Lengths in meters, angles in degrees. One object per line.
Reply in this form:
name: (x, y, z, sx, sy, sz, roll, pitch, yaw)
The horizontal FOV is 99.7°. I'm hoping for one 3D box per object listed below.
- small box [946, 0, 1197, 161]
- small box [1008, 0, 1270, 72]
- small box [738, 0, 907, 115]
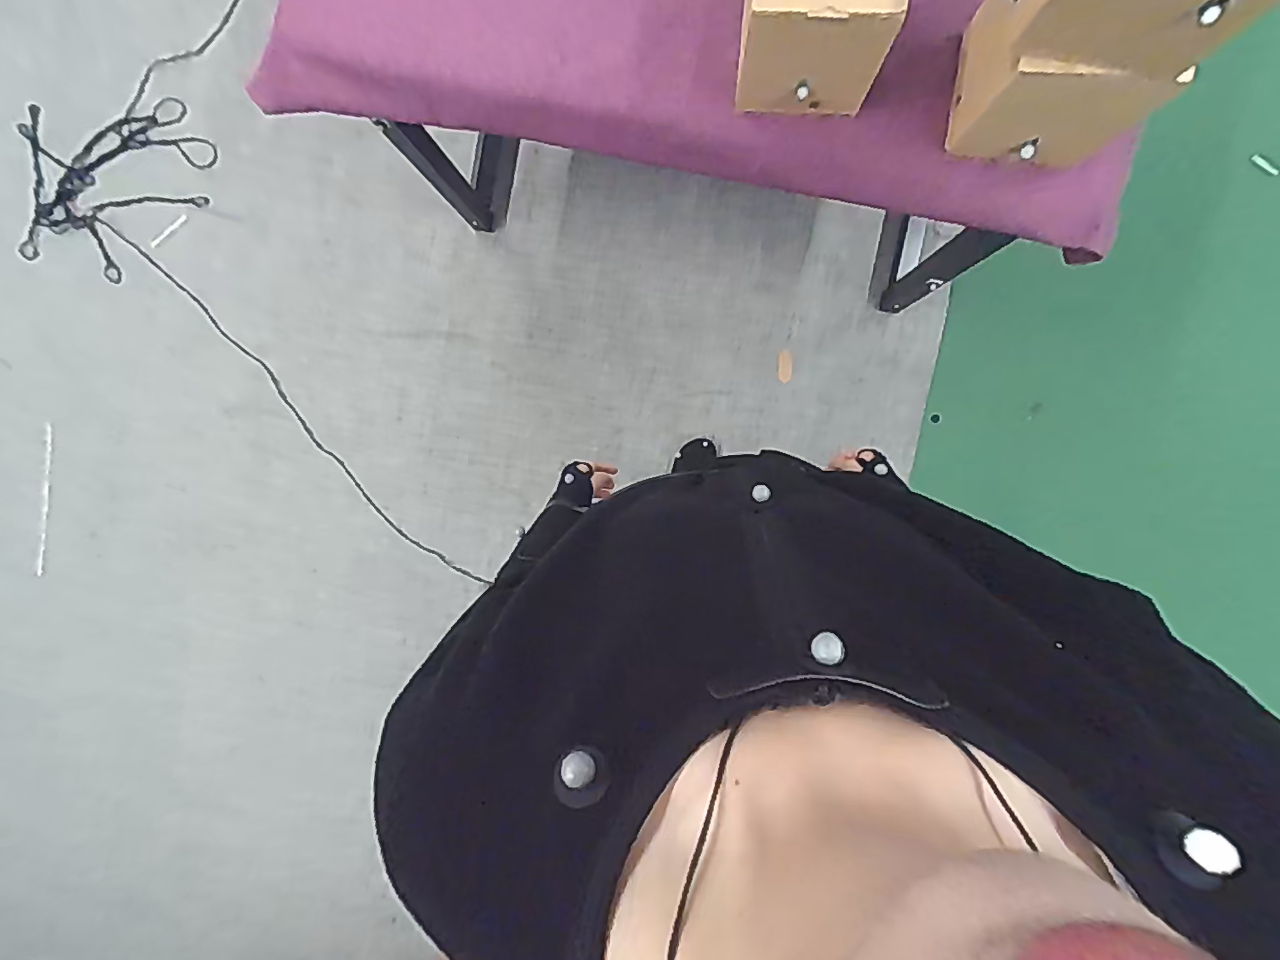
small box: (0.499, -0.503, 0.635, 0.179, 0.176, 0.168, 7, 94, 4)
small box: (0.476, -0.504, 0.472, 0.179, 0.176, 0.168, 14, 94, 5)
small box: (0.214, -0.587, 0.653, 0.168, 0.176, 0.179, 5, 93, 5)
